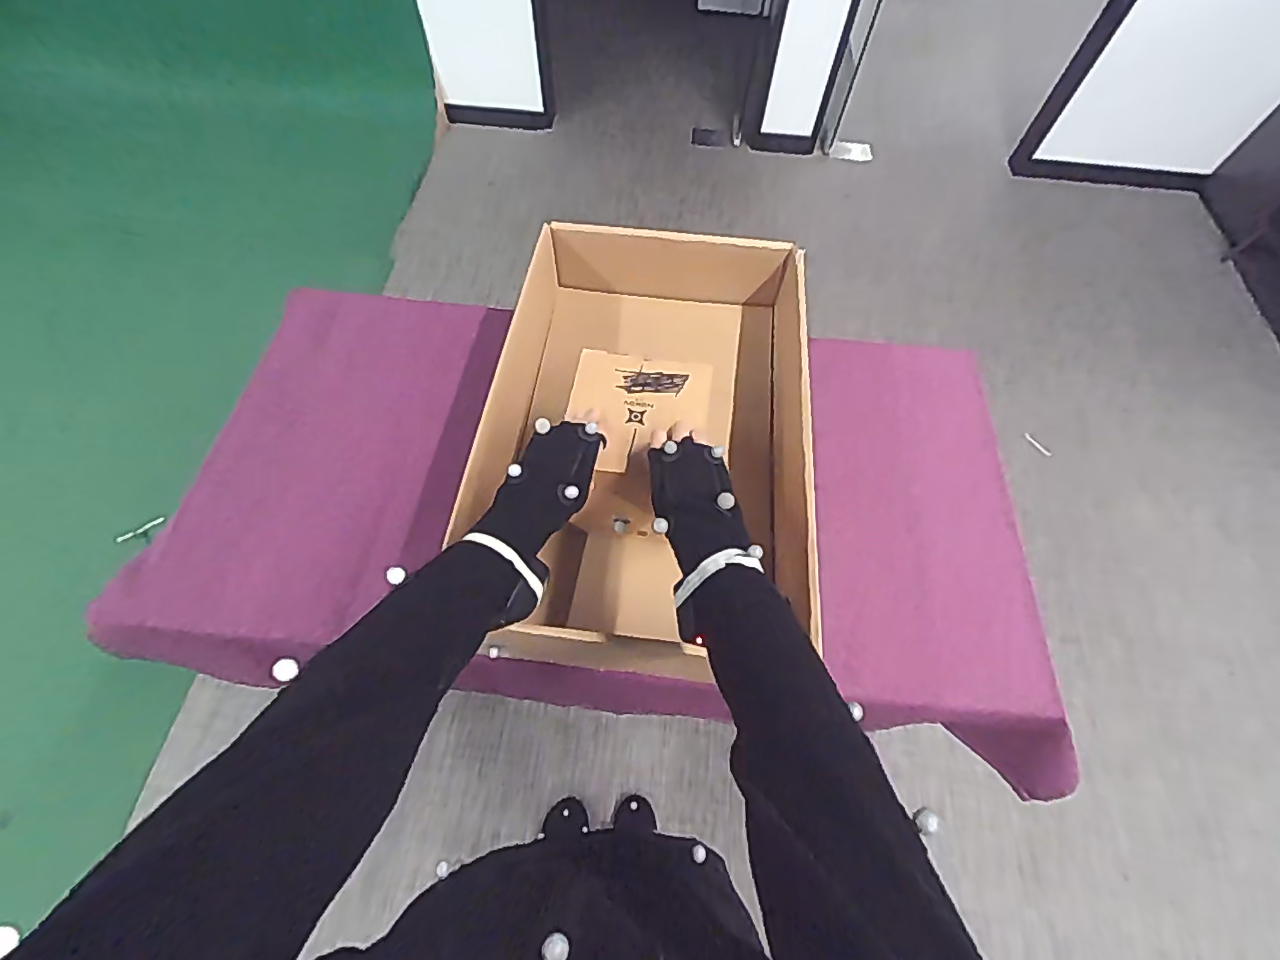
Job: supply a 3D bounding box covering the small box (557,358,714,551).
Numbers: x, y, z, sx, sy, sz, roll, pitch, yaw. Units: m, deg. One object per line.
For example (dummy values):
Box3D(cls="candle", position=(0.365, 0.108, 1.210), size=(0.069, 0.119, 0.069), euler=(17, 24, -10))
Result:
Box3D(cls="small box", position=(-0.004, -0.028, 0.700), size=(0.168, 0.176, 0.179), euler=(7, 60, 2))
